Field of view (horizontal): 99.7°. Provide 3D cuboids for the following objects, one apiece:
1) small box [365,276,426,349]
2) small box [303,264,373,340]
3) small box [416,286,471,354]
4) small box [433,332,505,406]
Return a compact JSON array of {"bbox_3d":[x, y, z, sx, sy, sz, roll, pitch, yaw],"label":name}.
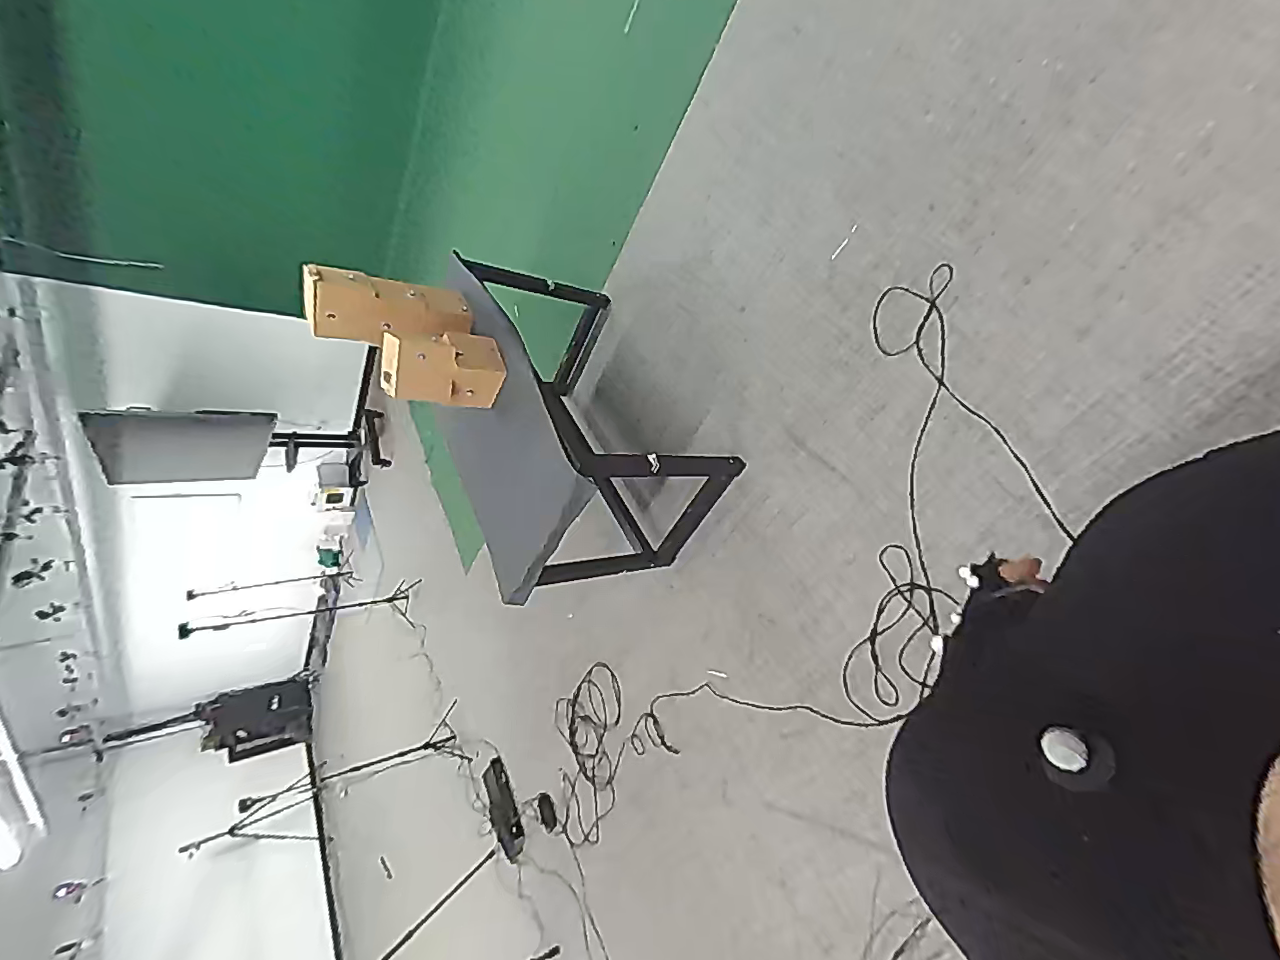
[{"bbox_3d":[-0.850,-0.569,1.855,0.168,0.176,0.179,52,128,33],"label":"small box"},{"bbox_3d":[-0.975,-0.568,1.745,0.168,0.176,0.179,48,128,34],"label":"small box"},{"bbox_3d":[-0.728,-0.575,1.961,0.168,0.176,0.179,56,133,31],"label":"small box"},{"bbox_3d":[-0.562,-0.356,1.777,0.179,0.176,0.168,-51,55,40],"label":"small box"}]
